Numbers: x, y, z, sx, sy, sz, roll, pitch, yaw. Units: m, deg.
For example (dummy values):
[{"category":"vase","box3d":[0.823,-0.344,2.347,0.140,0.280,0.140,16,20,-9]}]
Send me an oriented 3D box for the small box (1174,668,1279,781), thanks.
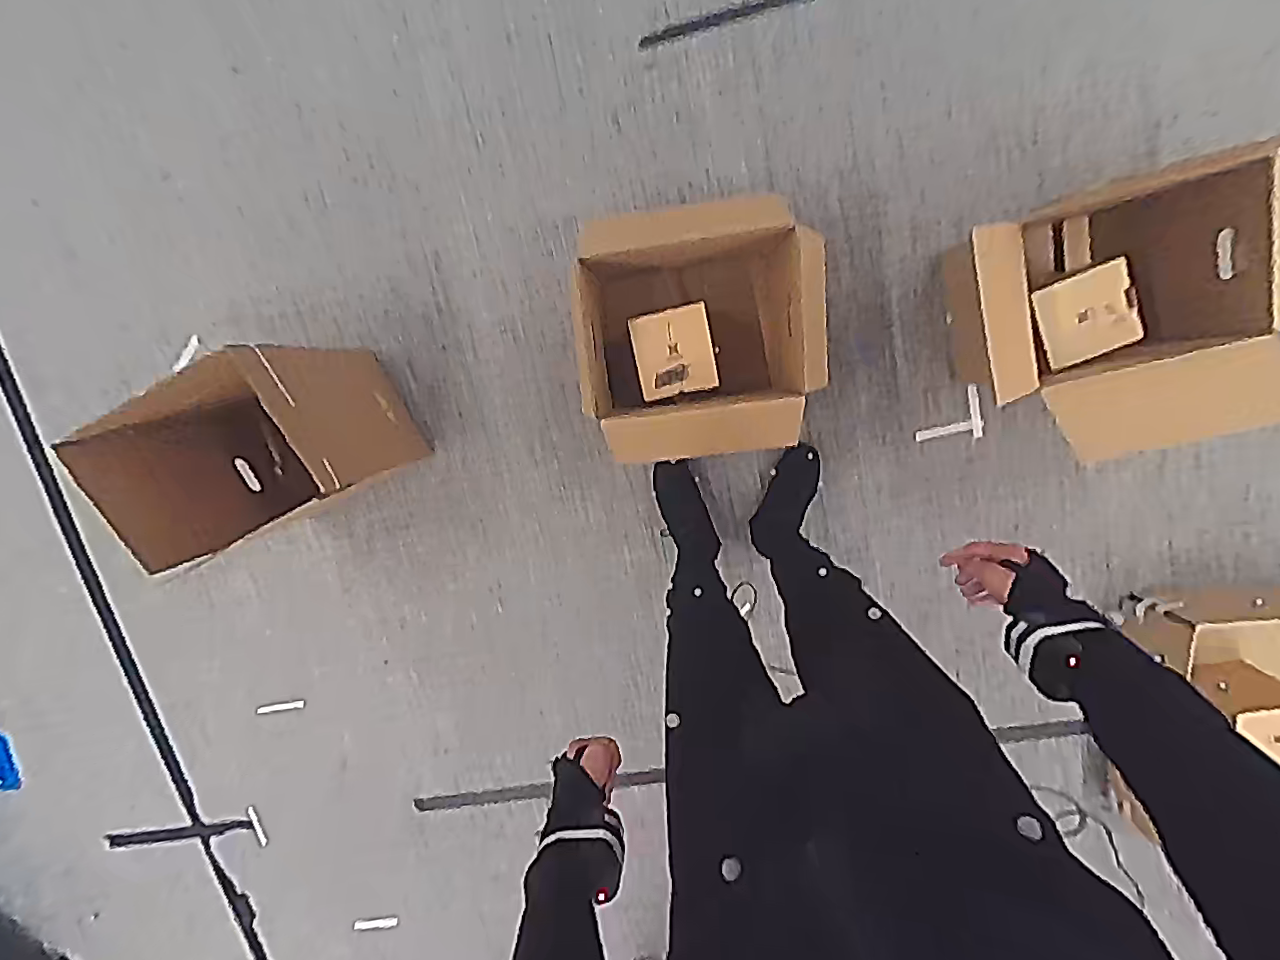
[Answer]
[{"category":"small box","box3d":[1.407,0.564,1.261,0.179,0.176,0.168,-10,102,6]}]
